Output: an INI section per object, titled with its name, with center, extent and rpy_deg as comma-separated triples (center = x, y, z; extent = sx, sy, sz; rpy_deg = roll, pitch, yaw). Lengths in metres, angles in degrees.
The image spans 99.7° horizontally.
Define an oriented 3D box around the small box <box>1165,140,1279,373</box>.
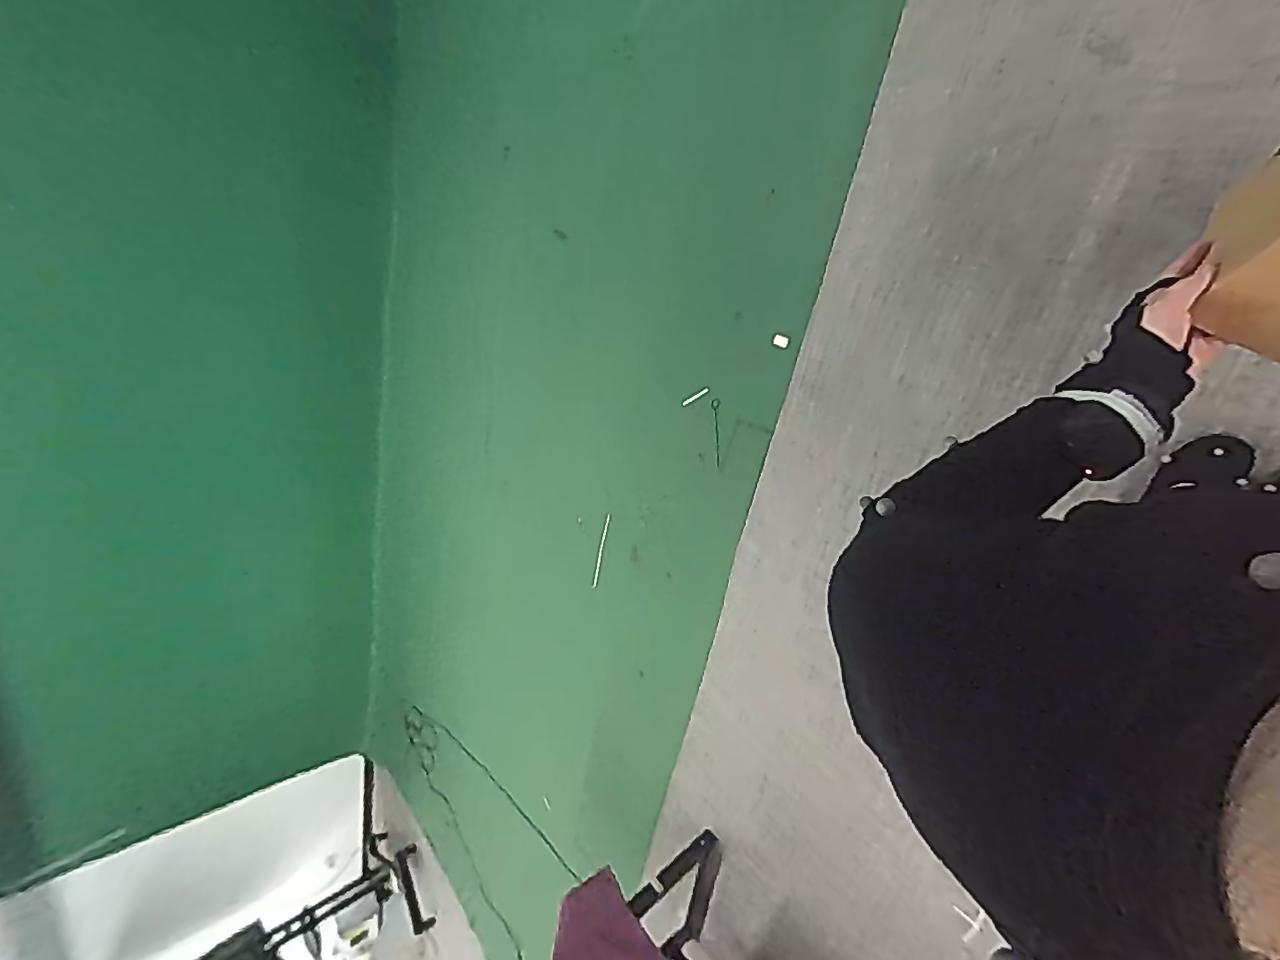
[small box]
center = 0.566, -0.186, 0.396
extent = 0.179, 0.176, 0.168
rpy_deg = 33, 161, 13
